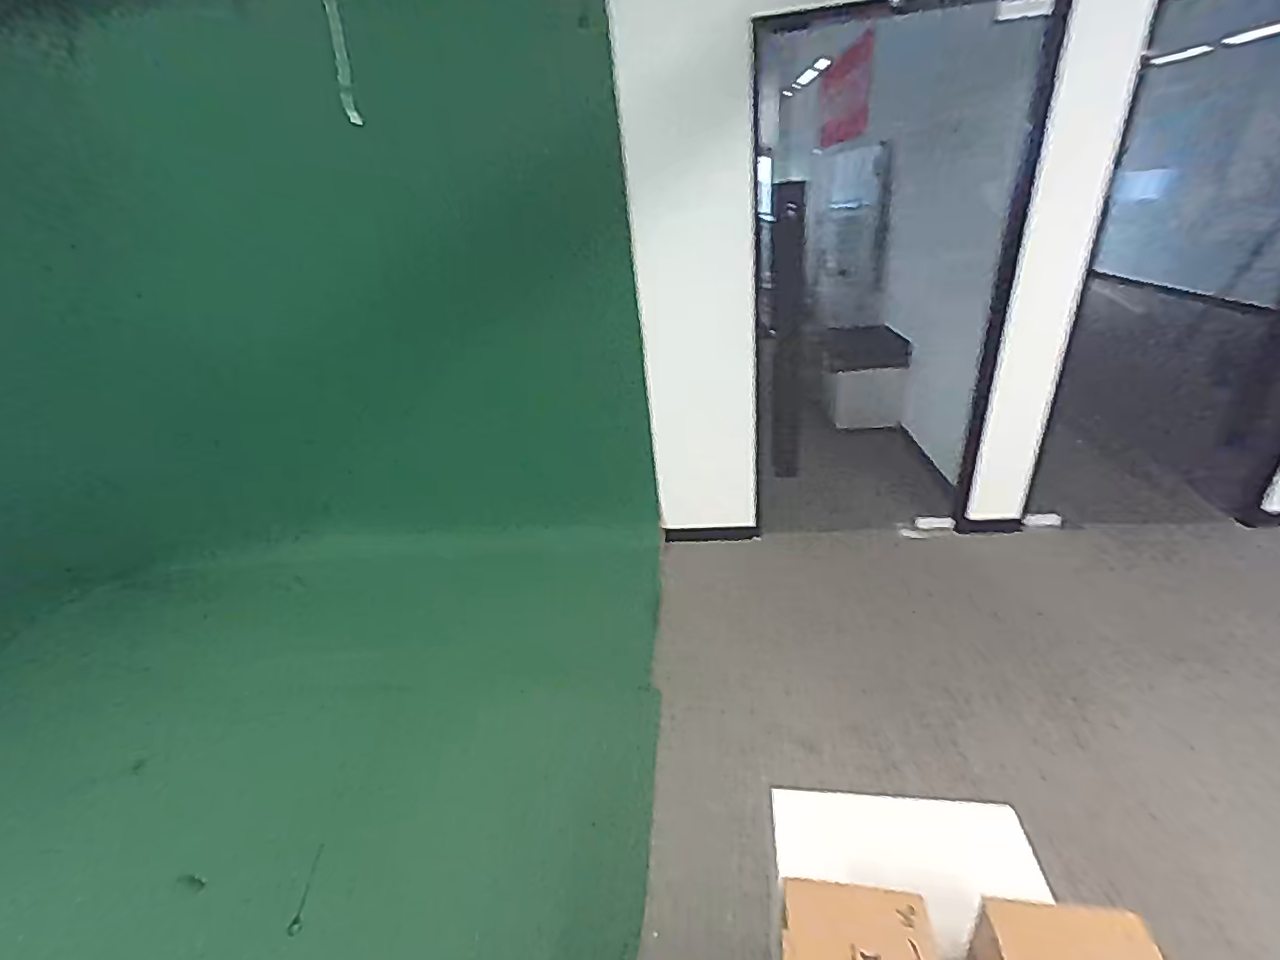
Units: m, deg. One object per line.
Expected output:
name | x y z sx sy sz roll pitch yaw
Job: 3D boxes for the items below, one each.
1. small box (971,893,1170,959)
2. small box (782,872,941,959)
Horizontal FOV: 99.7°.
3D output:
small box | 0.511 0.625 0.627 0.179 0.176 0.168 -2 27 12
small box | 0.268 0.629 0.667 0.179 0.176 0.168 0 29 11
